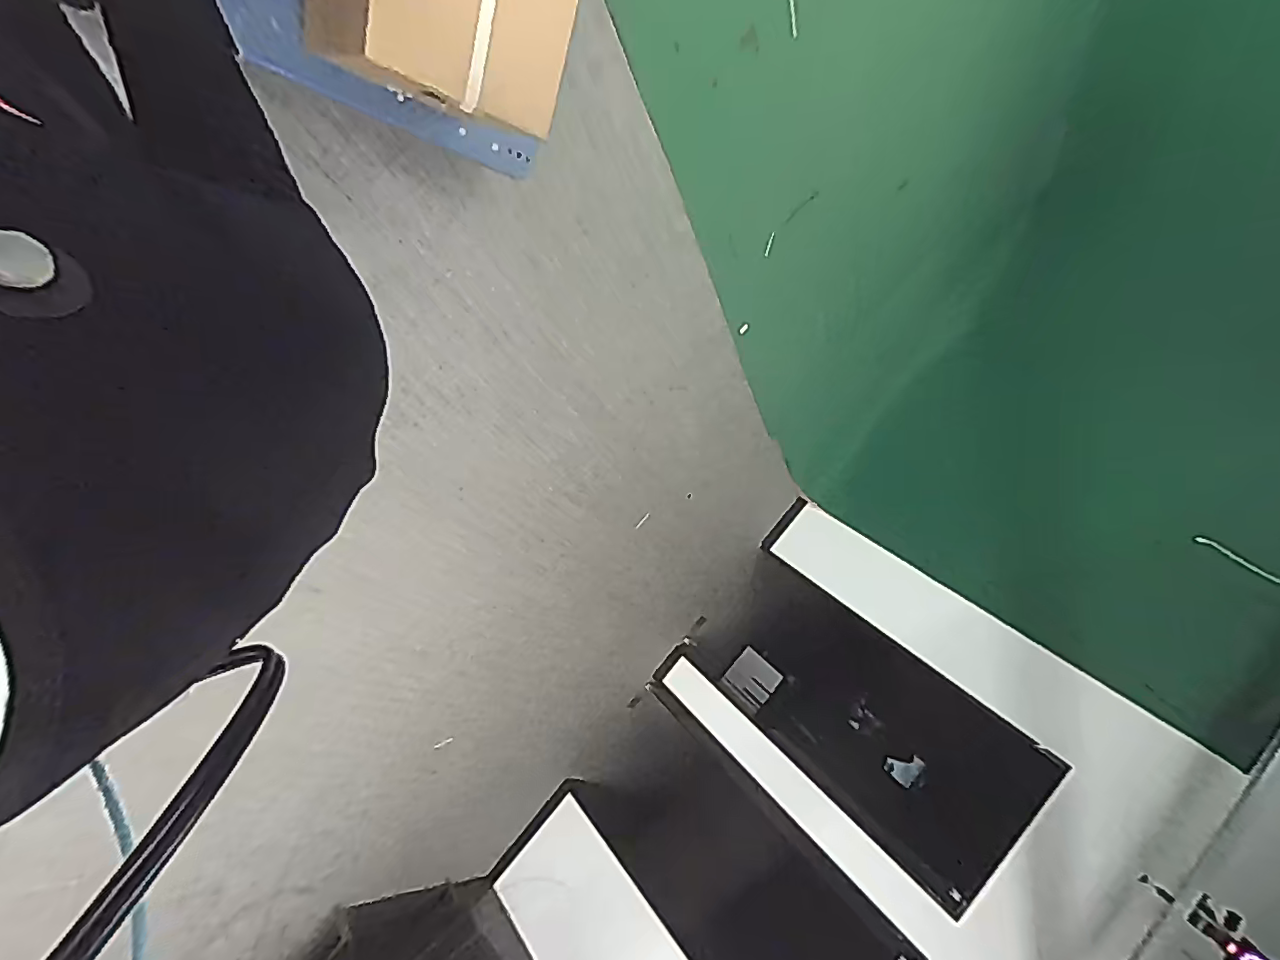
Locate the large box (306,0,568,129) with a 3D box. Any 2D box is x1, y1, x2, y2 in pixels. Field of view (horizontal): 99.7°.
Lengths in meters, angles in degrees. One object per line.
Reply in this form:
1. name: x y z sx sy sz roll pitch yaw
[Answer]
1. large box: -0.320 -0.856 0.873 0.320 0.320 0.408 -6 123 -46
